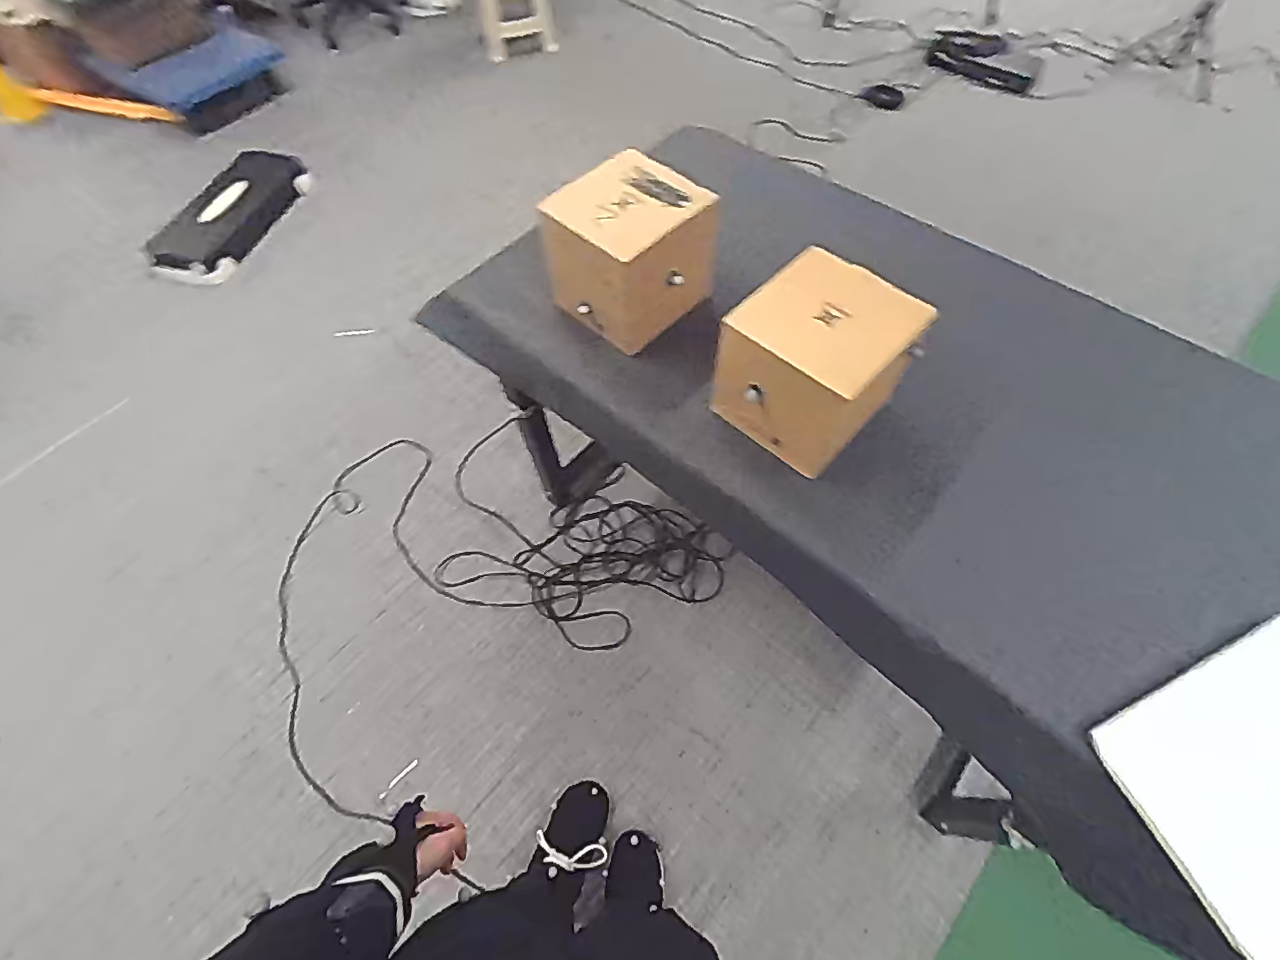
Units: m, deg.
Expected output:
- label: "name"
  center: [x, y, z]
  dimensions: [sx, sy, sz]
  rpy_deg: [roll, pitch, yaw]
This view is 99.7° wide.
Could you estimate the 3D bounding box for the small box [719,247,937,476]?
- label: "small box"
  center: [0.211, -0.137, 0.656]
  dimensions: [0.168, 0.176, 0.179]
  rpy_deg: [40, 68, 21]
